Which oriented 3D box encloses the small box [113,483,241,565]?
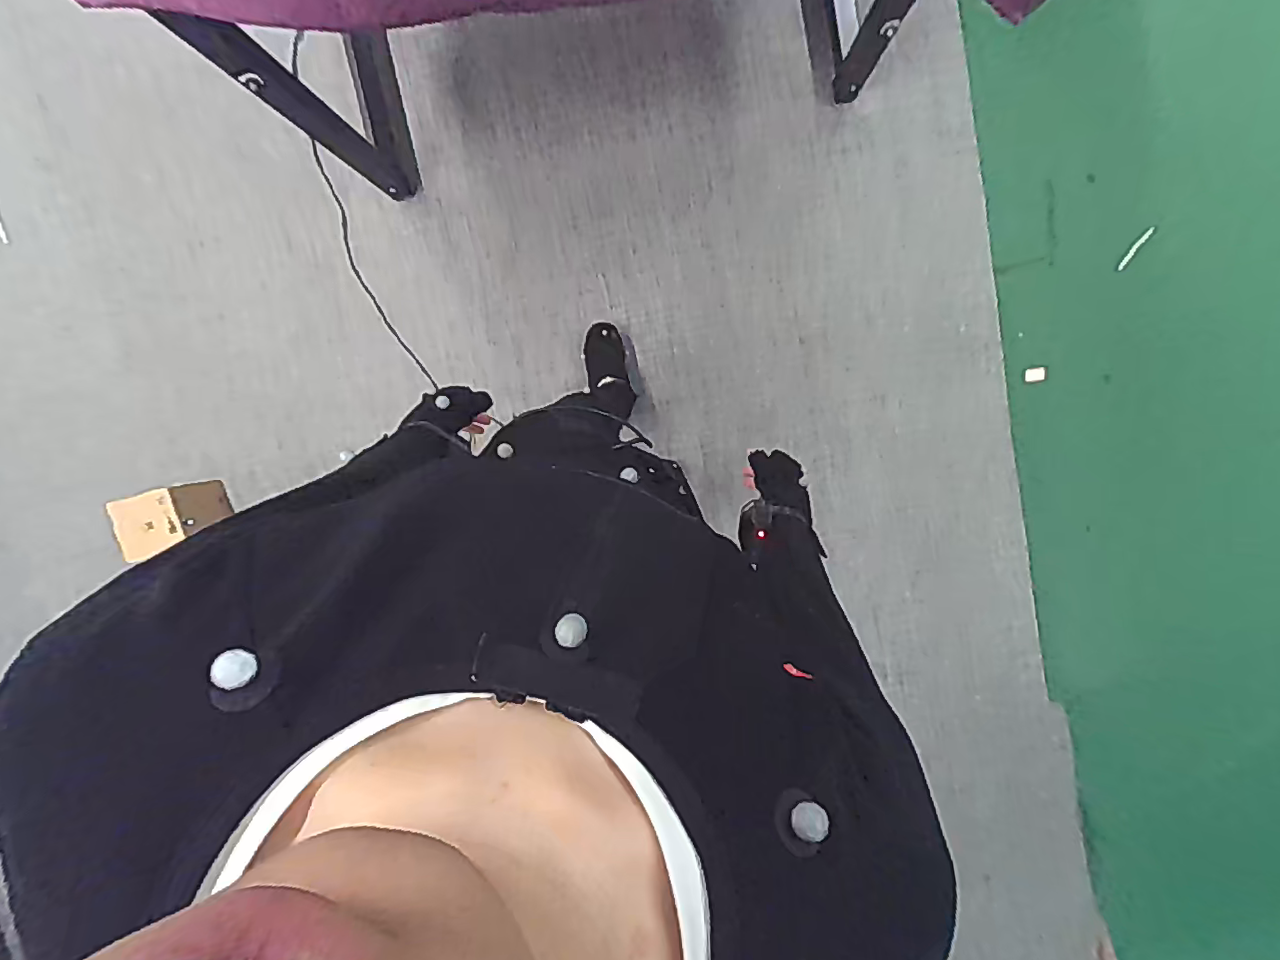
[{"bbox_3d":[-1.233,0.114,1.453,0.179,0.176,0.168,-14,97,5],"label":"small box"}]
